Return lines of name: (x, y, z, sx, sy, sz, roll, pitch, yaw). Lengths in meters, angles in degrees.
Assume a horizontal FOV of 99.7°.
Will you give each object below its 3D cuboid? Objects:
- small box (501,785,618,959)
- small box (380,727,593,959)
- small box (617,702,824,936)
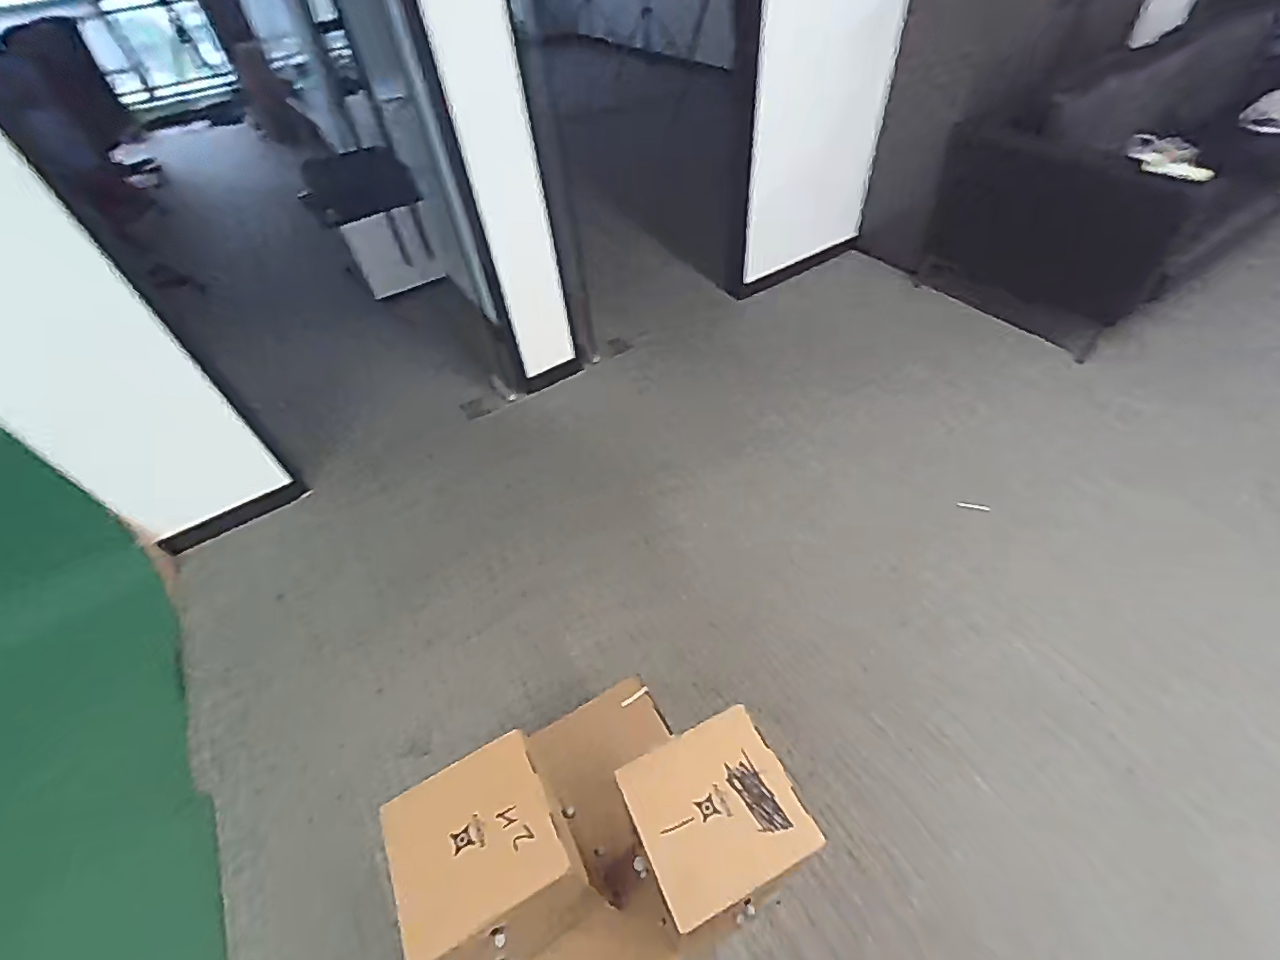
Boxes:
small box: (-0.150, 0.655, 0.899, 0.168, 0.176, 0.179, -24, 48, -14)
small box: (-0.176, 0.441, 0.648, 0.179, 0.176, 0.168, -26, 50, -15)
small box: (0.088, 0.407, 0.652, 0.179, 0.176, 0.168, -23, 49, -14)
